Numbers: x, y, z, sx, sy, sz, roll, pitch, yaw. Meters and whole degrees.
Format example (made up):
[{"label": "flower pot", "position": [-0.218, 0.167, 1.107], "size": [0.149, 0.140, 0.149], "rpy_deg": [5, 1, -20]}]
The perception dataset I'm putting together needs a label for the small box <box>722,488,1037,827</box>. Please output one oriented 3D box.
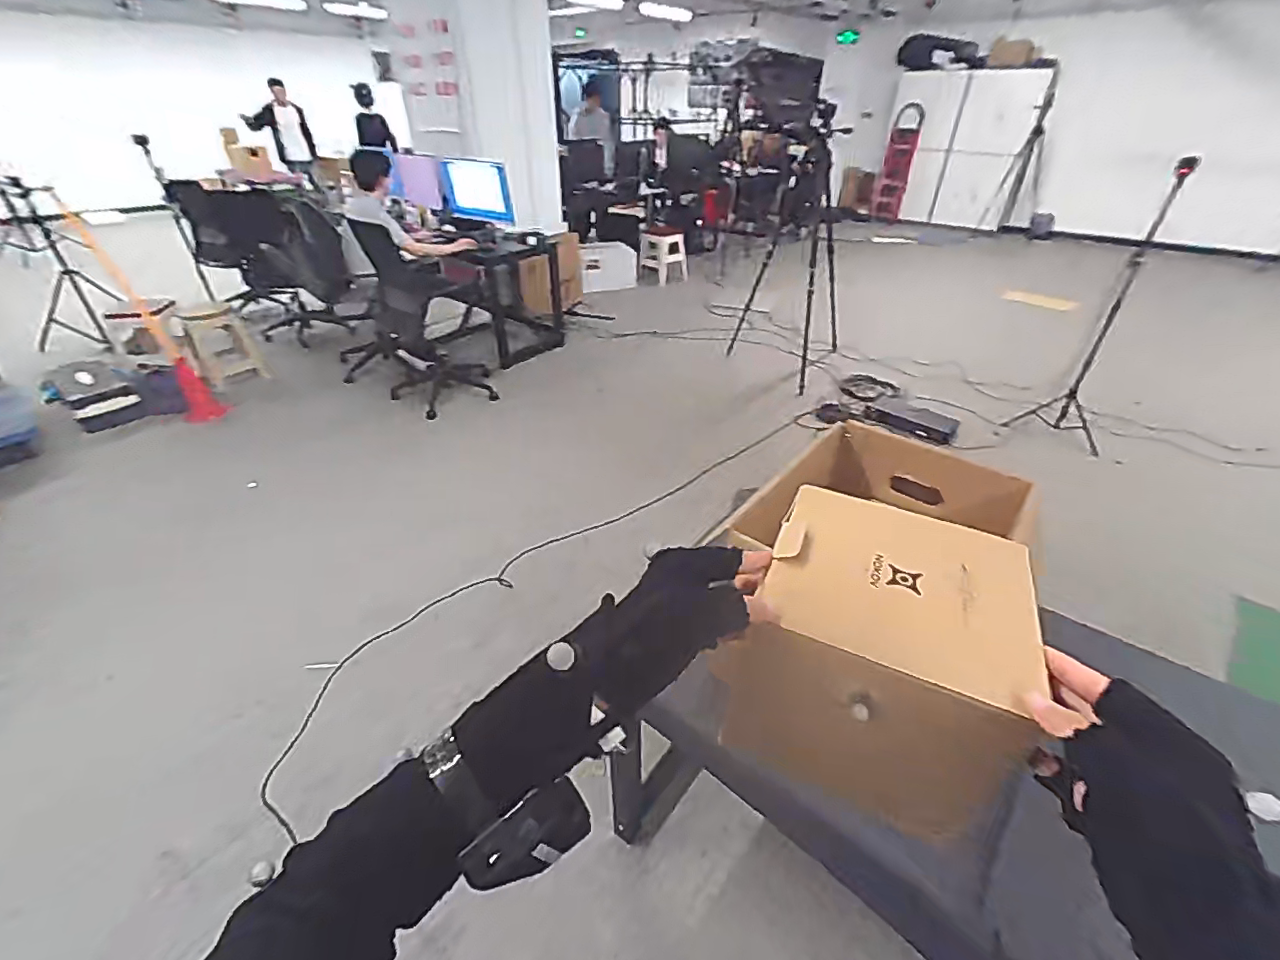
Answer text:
[{"label": "small box", "position": [0.177, 0.137, 0.437], "size": [0.179, 0.176, 0.168], "rpy_deg": [17, 39, 18]}]
